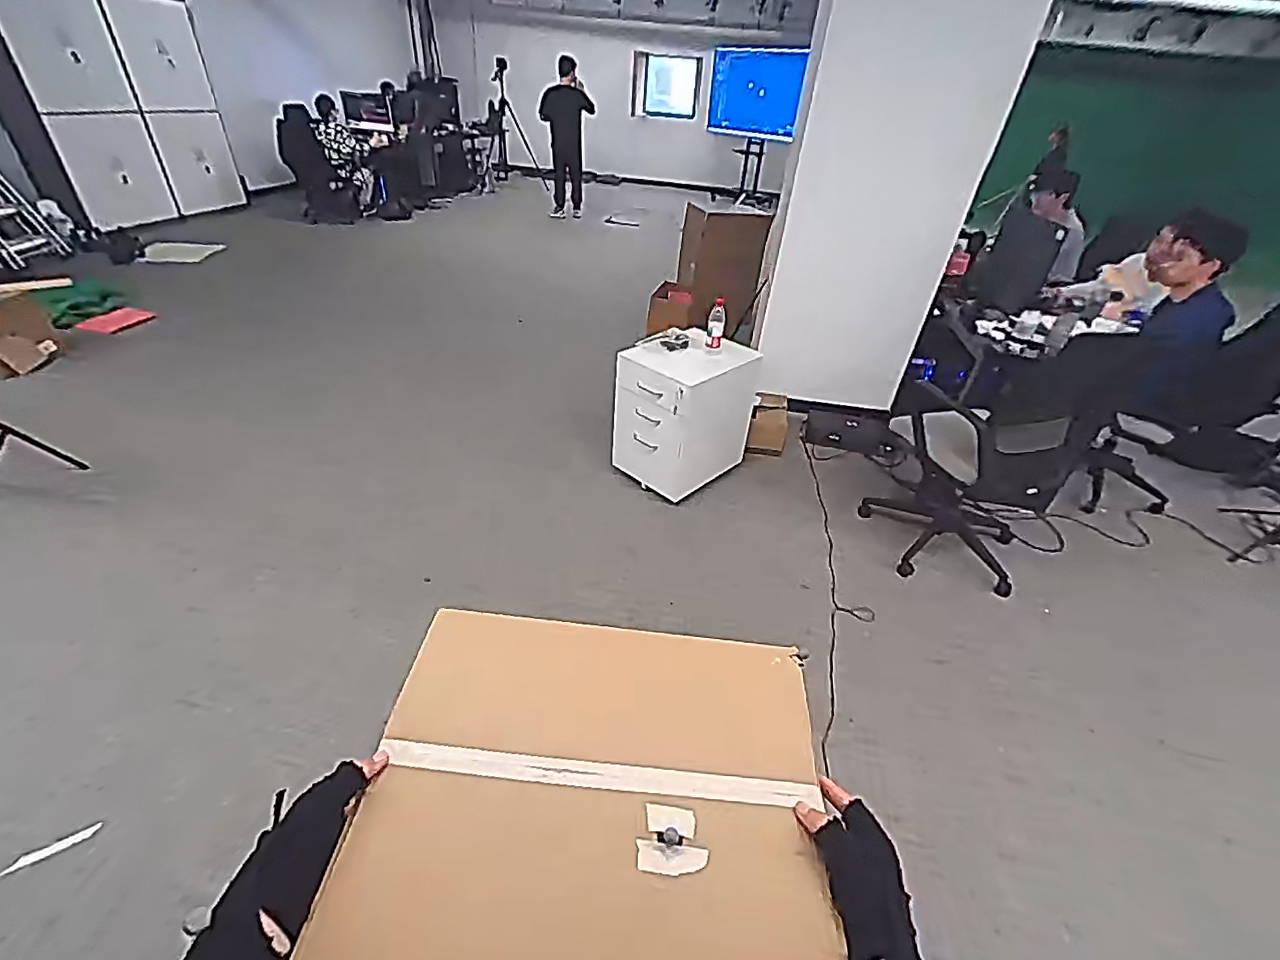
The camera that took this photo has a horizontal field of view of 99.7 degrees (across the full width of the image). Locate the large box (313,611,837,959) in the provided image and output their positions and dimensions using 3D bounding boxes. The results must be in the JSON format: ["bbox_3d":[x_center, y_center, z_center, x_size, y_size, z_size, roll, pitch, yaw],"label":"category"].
[{"bbox_3d":[-0.050,0.381,0.606,0.408,0.320,0.320,7,42,0],"label":"large box"}]
